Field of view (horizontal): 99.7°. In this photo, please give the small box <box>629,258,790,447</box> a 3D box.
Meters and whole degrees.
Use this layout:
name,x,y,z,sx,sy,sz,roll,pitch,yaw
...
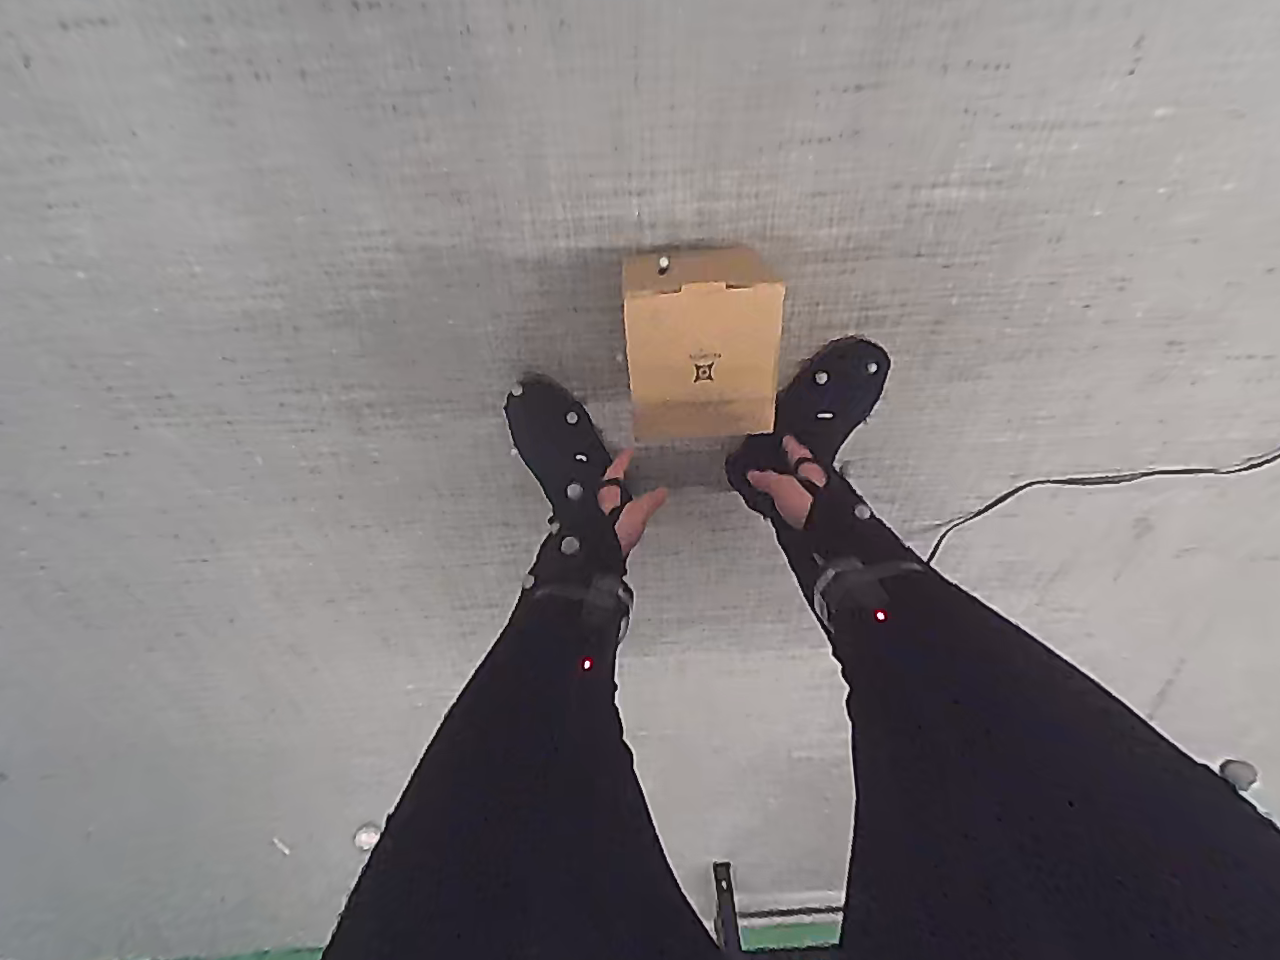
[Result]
name,x,y,z,sx,sy,sz,roll,pitch,yaw
small box,0.073,-0.160,0.655,0.168,0.176,0.179,-3,126,2
